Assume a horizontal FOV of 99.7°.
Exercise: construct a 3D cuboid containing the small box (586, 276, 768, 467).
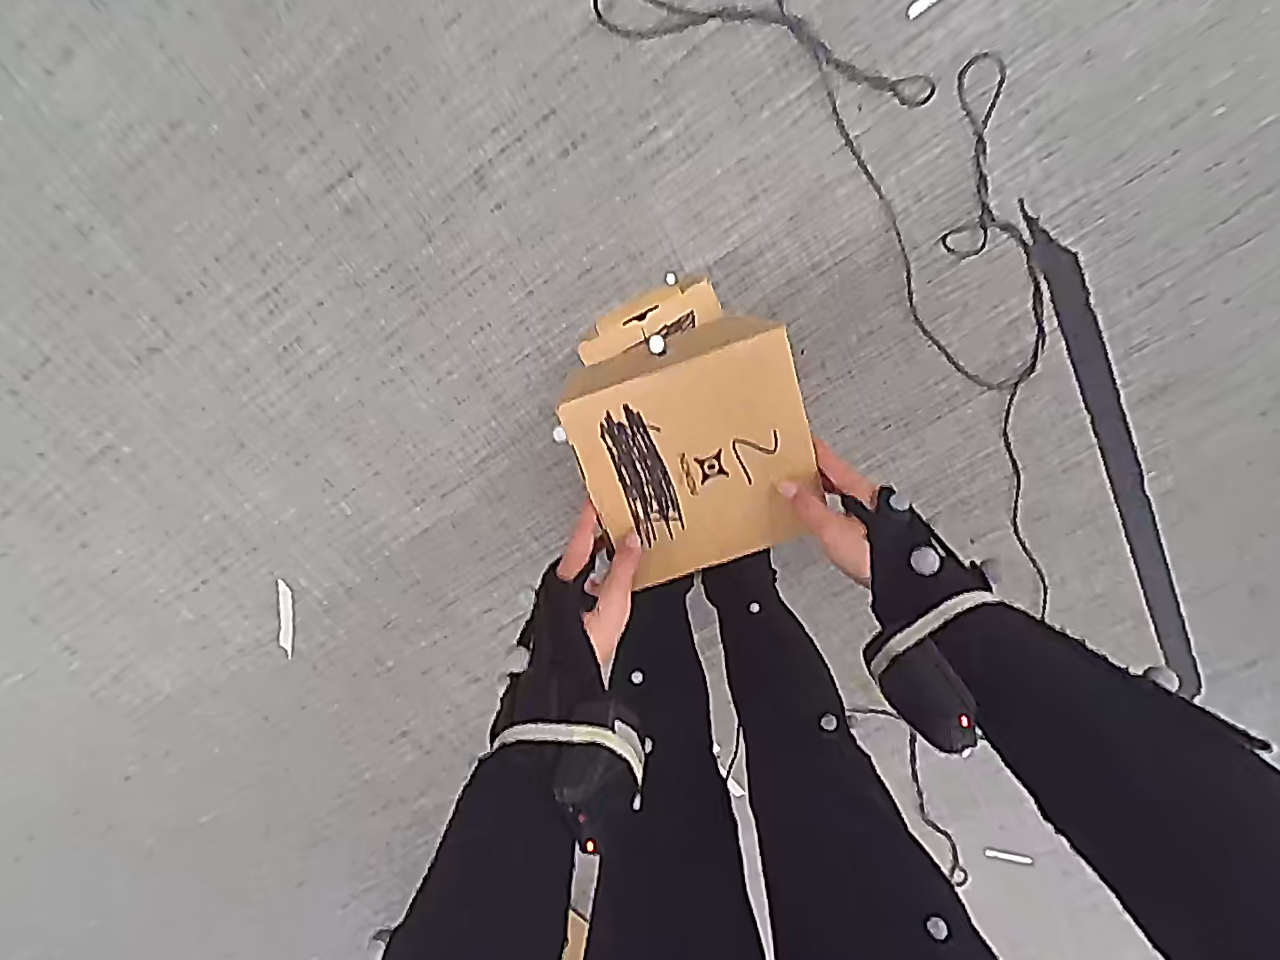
[{"bbox_3d":[0.044,-0.148,0.705,0.168,0.176,0.179,-24,111,9],"label":"small box"}]
